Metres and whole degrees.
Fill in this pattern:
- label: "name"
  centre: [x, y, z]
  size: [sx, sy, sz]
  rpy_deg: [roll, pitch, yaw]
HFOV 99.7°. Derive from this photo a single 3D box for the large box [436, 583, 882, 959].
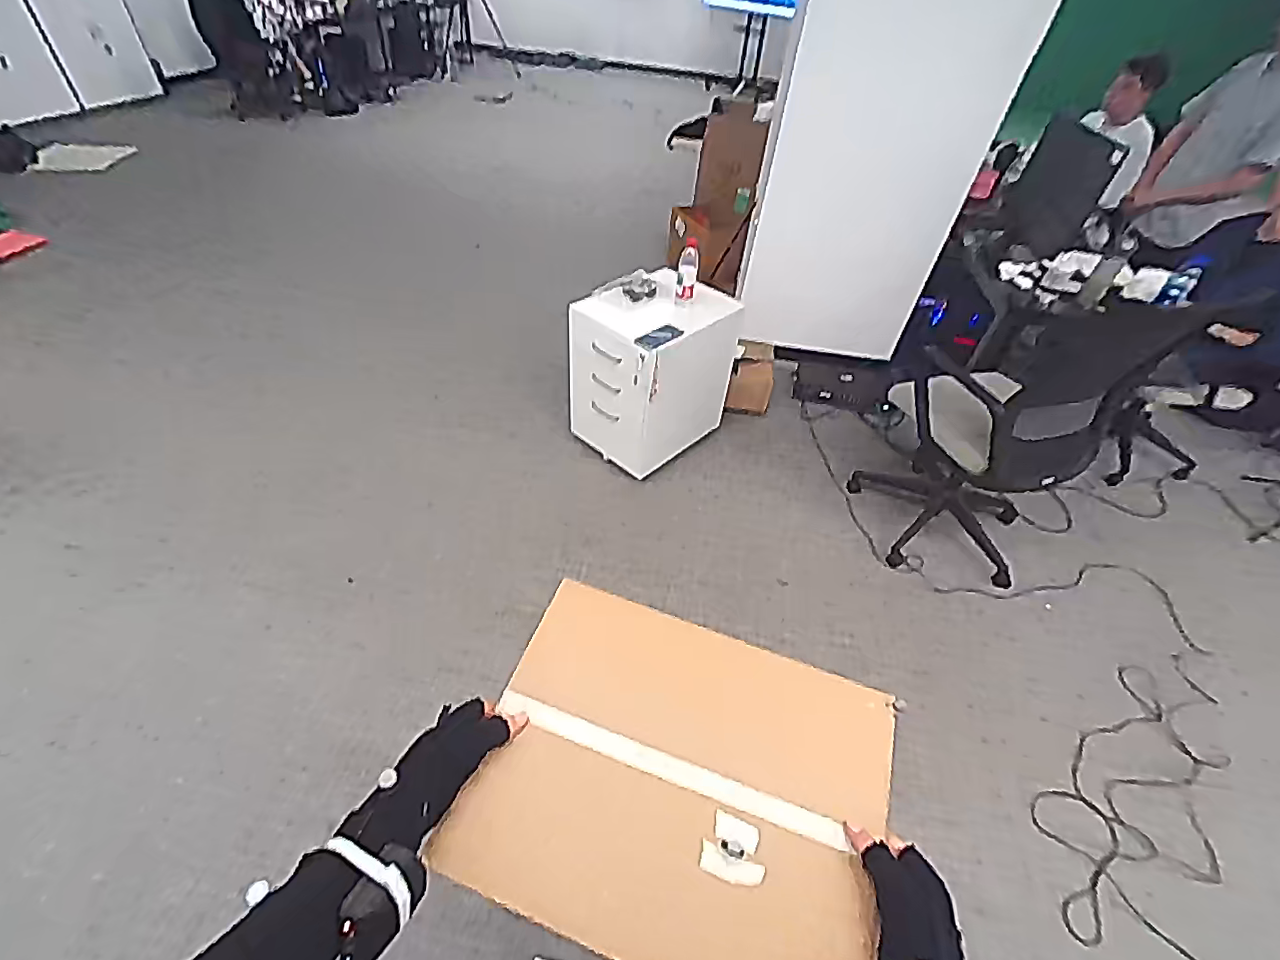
- label: "large box"
  centre: [0.032, 0.386, 0.678]
  size: [0.408, 0.320, 0.320]
  rpy_deg: [18, 54, 10]
